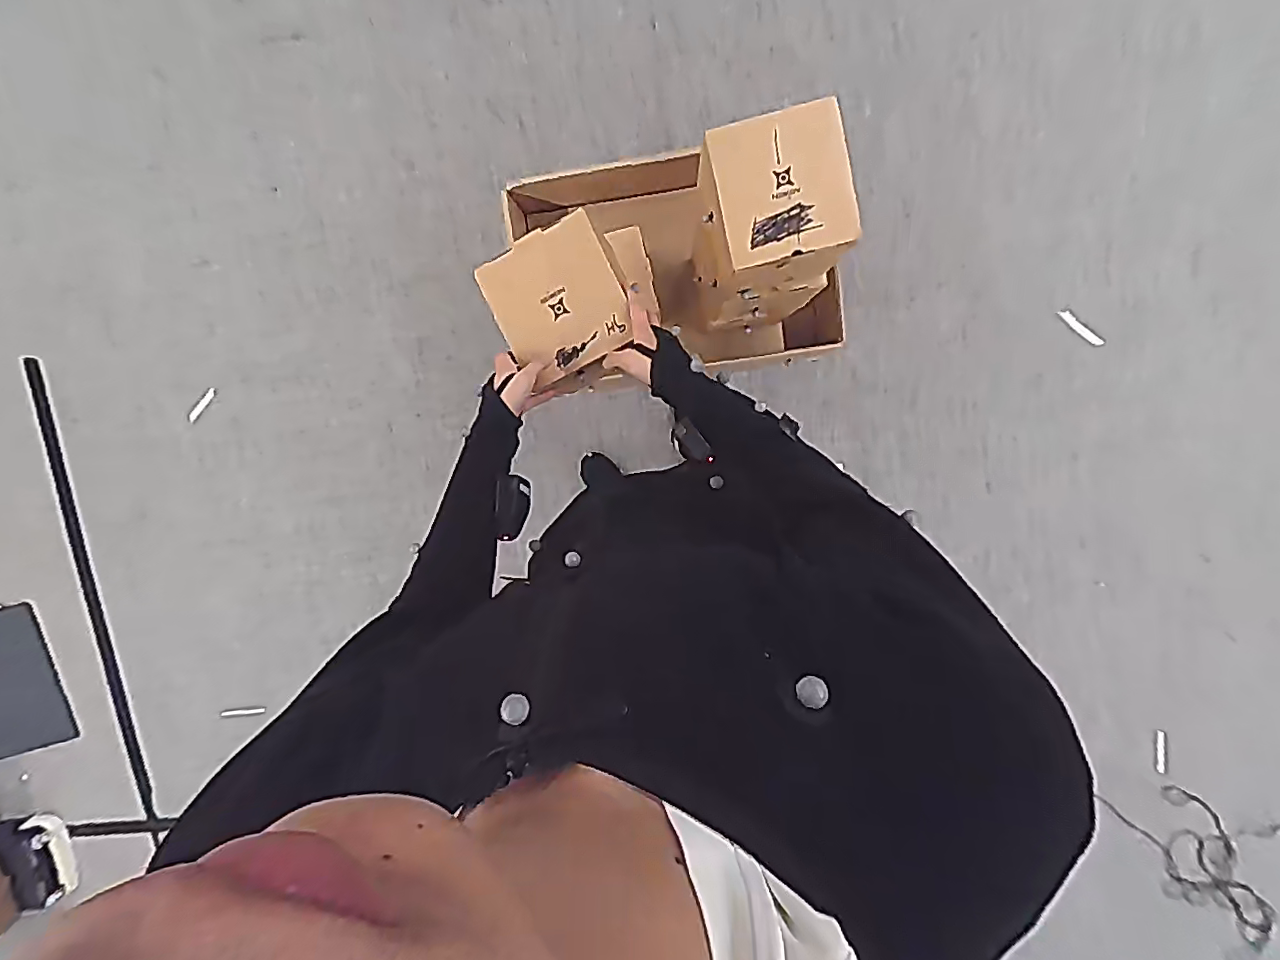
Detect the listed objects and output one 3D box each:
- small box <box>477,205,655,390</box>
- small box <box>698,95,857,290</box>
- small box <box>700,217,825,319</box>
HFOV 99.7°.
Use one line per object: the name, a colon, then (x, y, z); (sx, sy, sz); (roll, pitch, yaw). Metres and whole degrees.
small box: (-0.092, -0.239, 0.760); (0.168, 0.176, 0.179); (-25, 93, 11)
small box: (0.179, -0.375, 0.746); (0.168, 0.176, 0.179); (-13, 96, 4)
small box: (0.197, -0.385, 0.910); (0.168, 0.176, 0.179); (-10, 97, 4)
